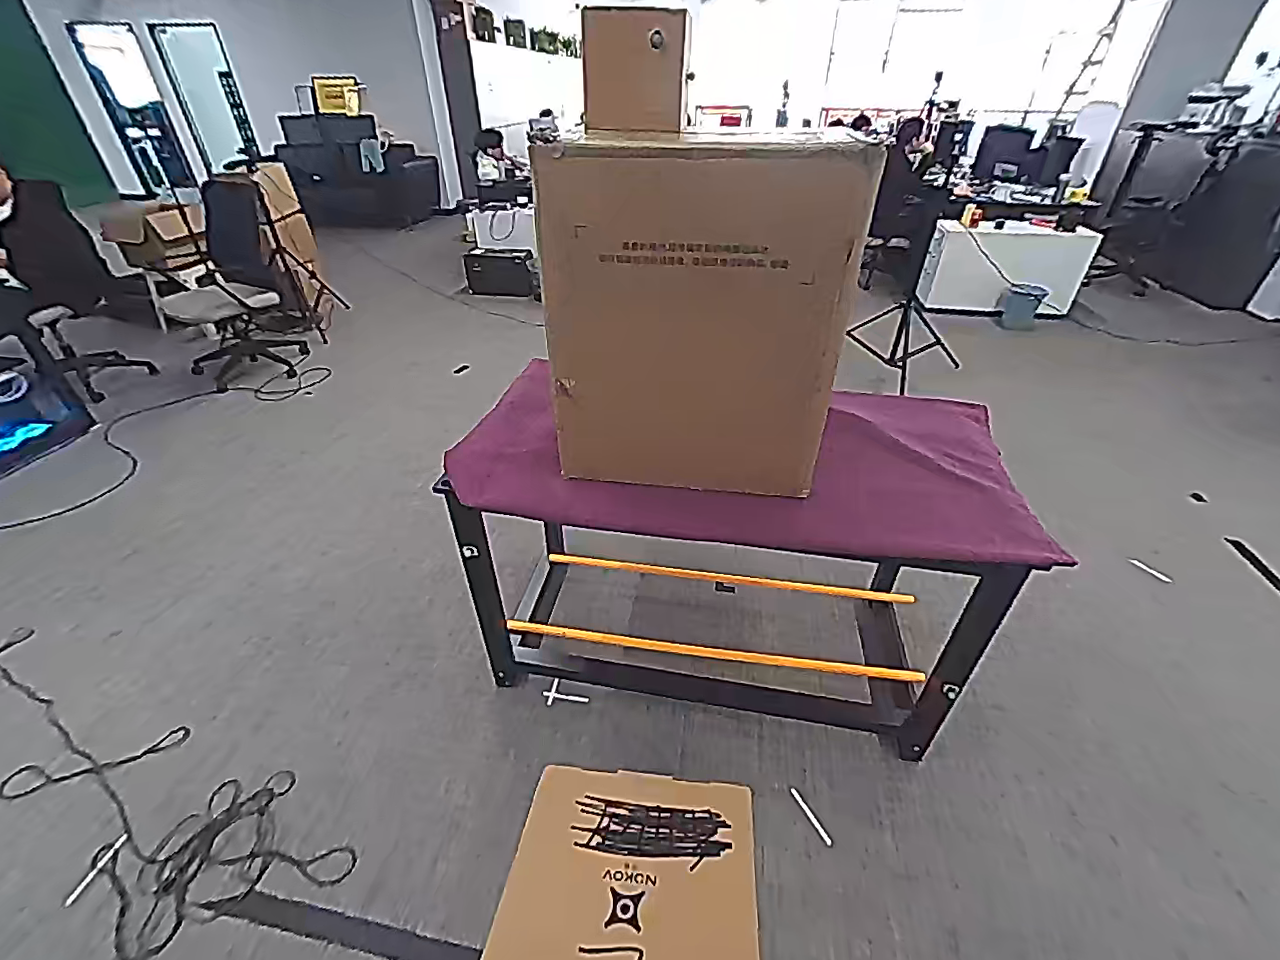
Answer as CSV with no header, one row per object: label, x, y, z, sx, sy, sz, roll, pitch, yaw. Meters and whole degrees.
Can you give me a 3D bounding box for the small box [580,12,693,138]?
small box,-0.002,-0.722,0.973,0.179,0.176,0.168,5,36,6
